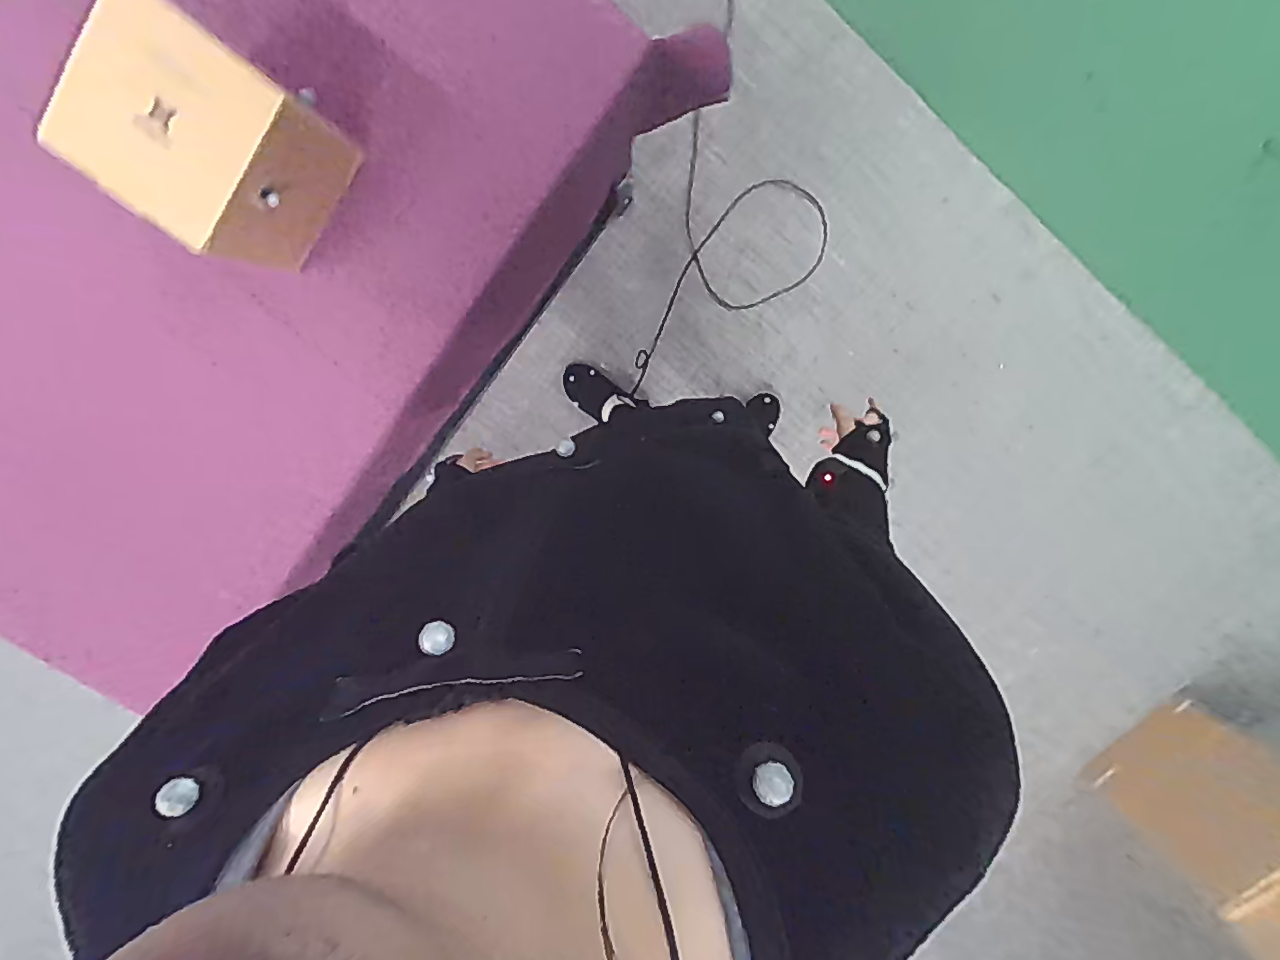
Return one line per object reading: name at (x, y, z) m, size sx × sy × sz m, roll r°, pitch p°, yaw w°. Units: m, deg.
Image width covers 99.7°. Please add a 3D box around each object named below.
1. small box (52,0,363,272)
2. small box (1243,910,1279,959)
small box at (-0.441, -0.351, 0.584) m, size 0.168 × 0.176 × 0.179 m, roll 37°, pitch 100°, yaw -10°
small box at (1.601, 1.137, 1.260) m, size 0.168 × 0.176 × 0.179 m, roll 41°, pitch 100°, yaw -7°
